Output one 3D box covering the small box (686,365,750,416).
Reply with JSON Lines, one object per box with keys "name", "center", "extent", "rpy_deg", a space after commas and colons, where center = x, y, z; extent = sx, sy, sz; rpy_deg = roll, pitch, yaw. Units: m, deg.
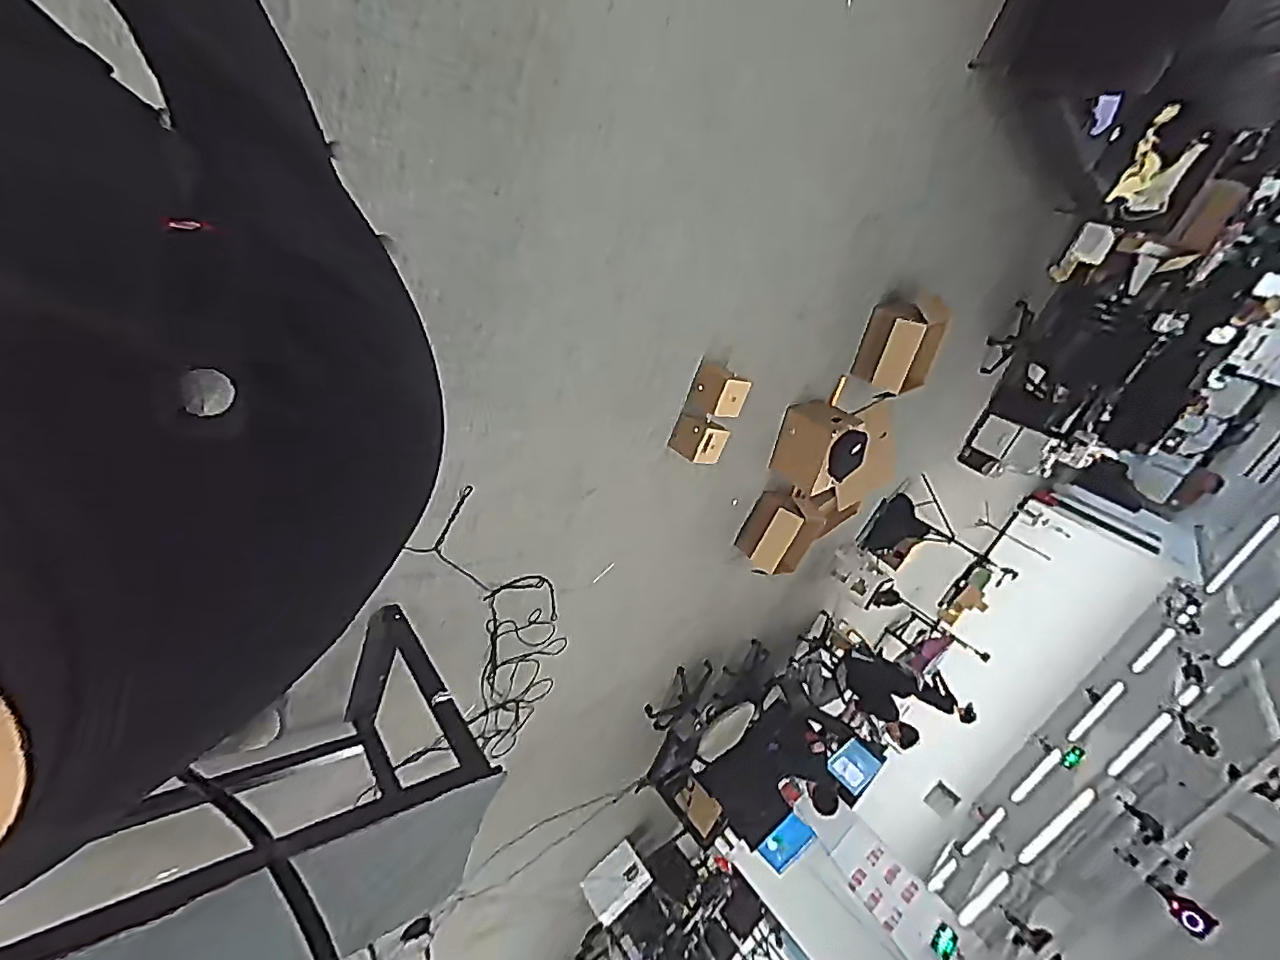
{"name": "small box", "center": [0.333, -0.386, 2.325], "extent": [0.179, 0.176, 0.168], "rpy_deg": [-5, 123, -44]}
